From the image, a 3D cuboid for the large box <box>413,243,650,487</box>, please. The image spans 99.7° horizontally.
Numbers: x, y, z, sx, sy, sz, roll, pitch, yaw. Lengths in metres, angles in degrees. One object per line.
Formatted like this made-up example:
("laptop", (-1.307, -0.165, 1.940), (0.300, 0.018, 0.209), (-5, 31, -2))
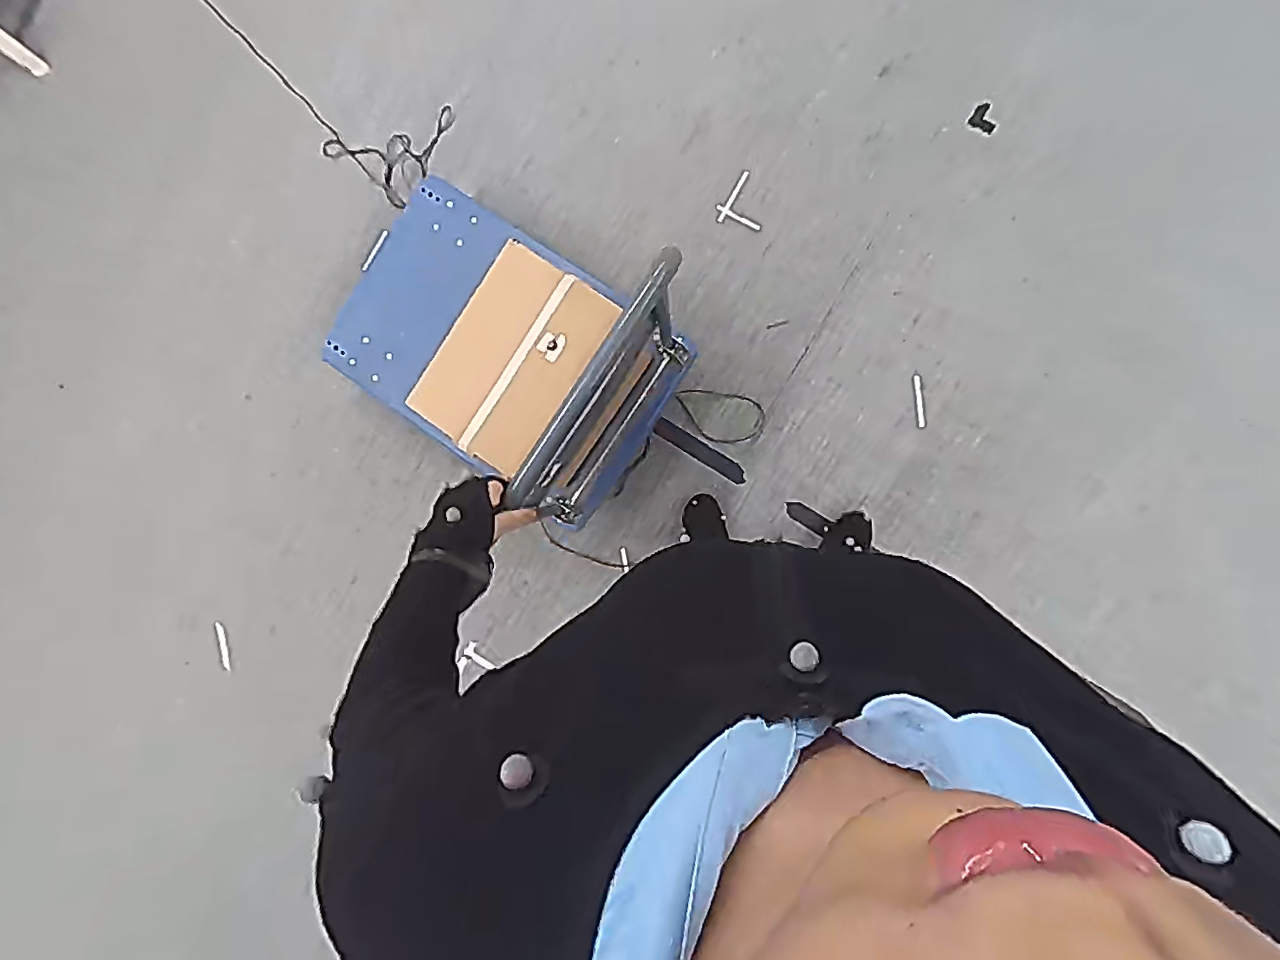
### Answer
("large box", (-0.223, -0.232, 1.239), (0.320, 0.320, 0.408), (34, 93, 6))
